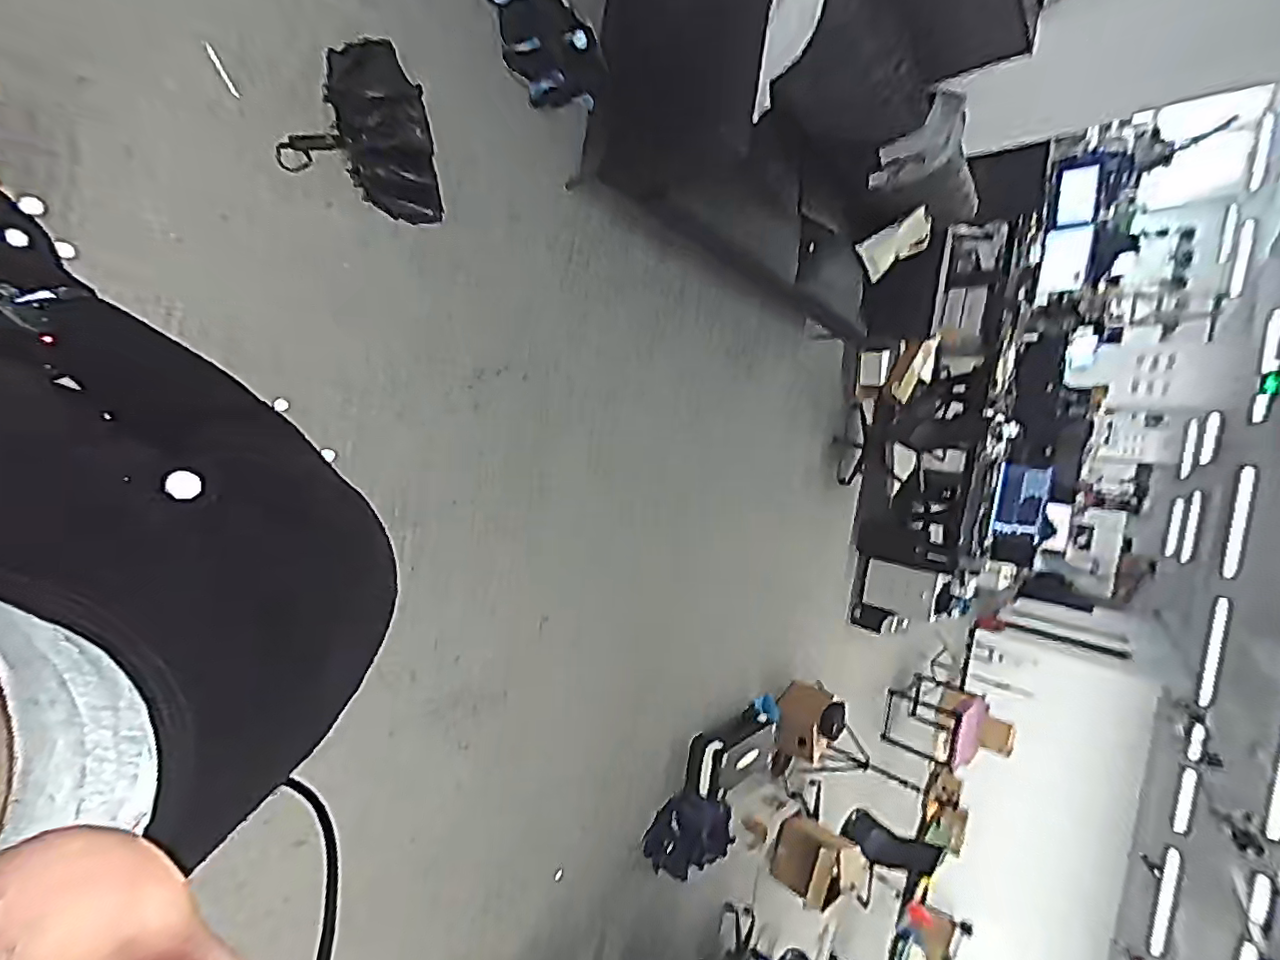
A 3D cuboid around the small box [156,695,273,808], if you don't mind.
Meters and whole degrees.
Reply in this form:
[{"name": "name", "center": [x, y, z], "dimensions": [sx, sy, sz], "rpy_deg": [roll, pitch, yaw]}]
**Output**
[{"name": "small box", "center": [-0.999, 0.623, 1.269], "dimensions": [0.179, 0.176, 0.168], "rpy_deg": [11, 87, -48]}]
